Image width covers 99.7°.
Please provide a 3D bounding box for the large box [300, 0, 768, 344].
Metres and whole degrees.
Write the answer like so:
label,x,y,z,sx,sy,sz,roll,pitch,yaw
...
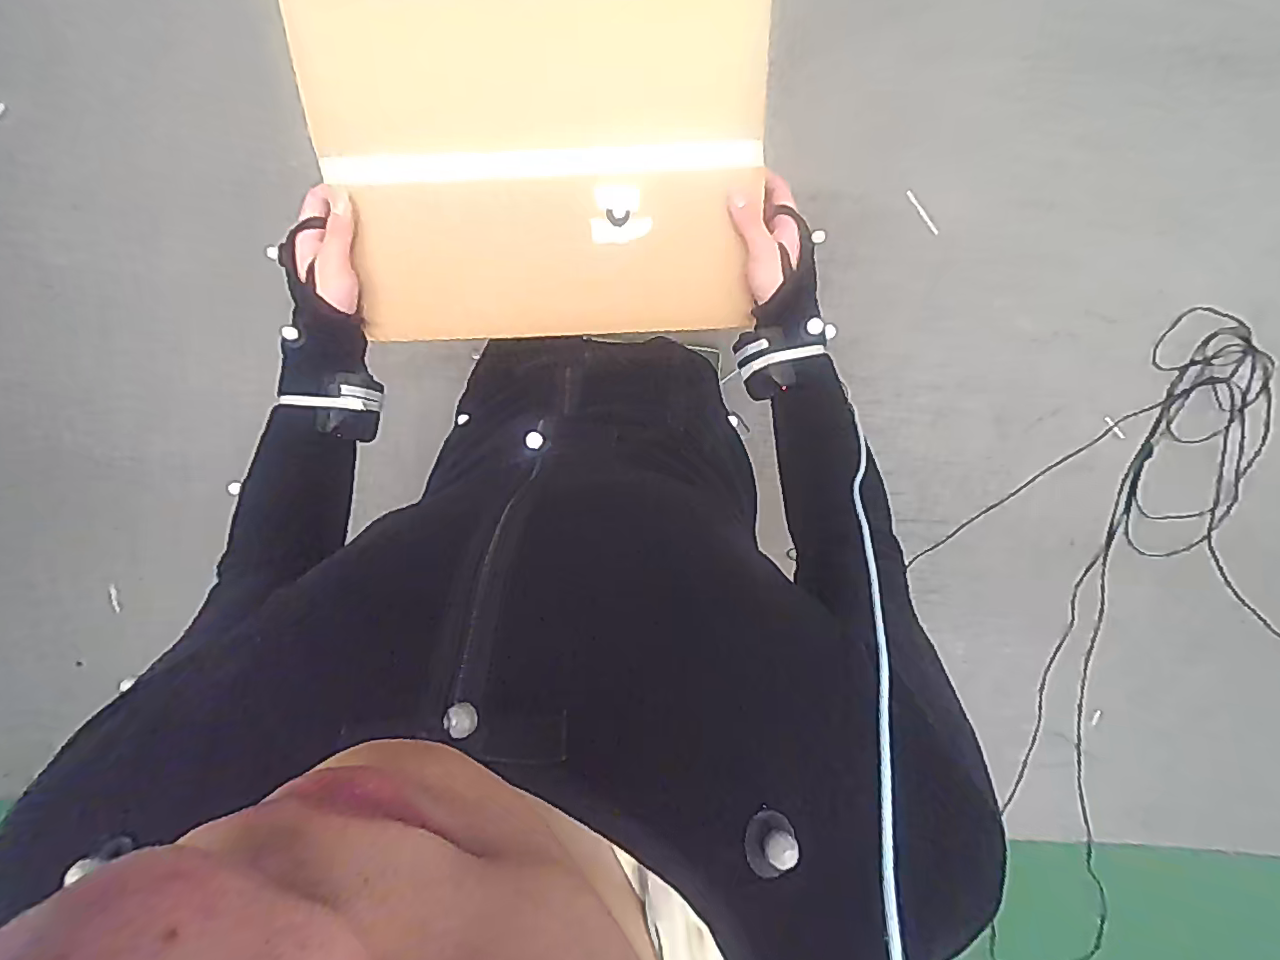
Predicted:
label,x,y,z,sx,sy,sz,roll,pitch,yaw
large box,-0.090,-0.356,0.647,0.408,0.320,0.320,-3,116,-1
